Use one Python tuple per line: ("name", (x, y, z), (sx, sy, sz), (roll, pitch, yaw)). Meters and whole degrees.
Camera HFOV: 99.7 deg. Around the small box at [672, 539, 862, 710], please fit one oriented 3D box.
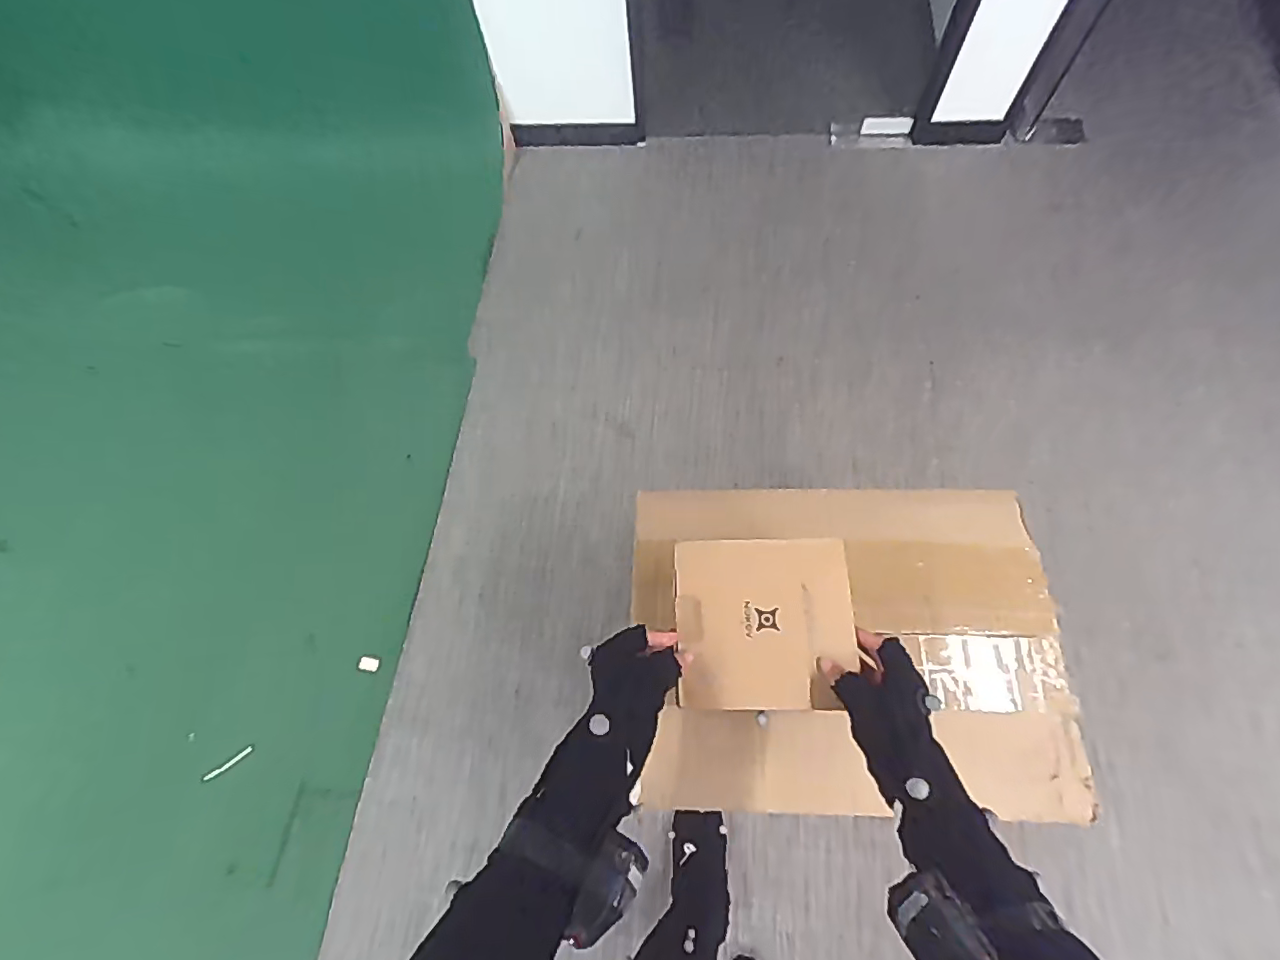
("small box", (0.127, 0.169, 0.610), (0.179, 0.176, 0.168), (-2, 68, 3))
